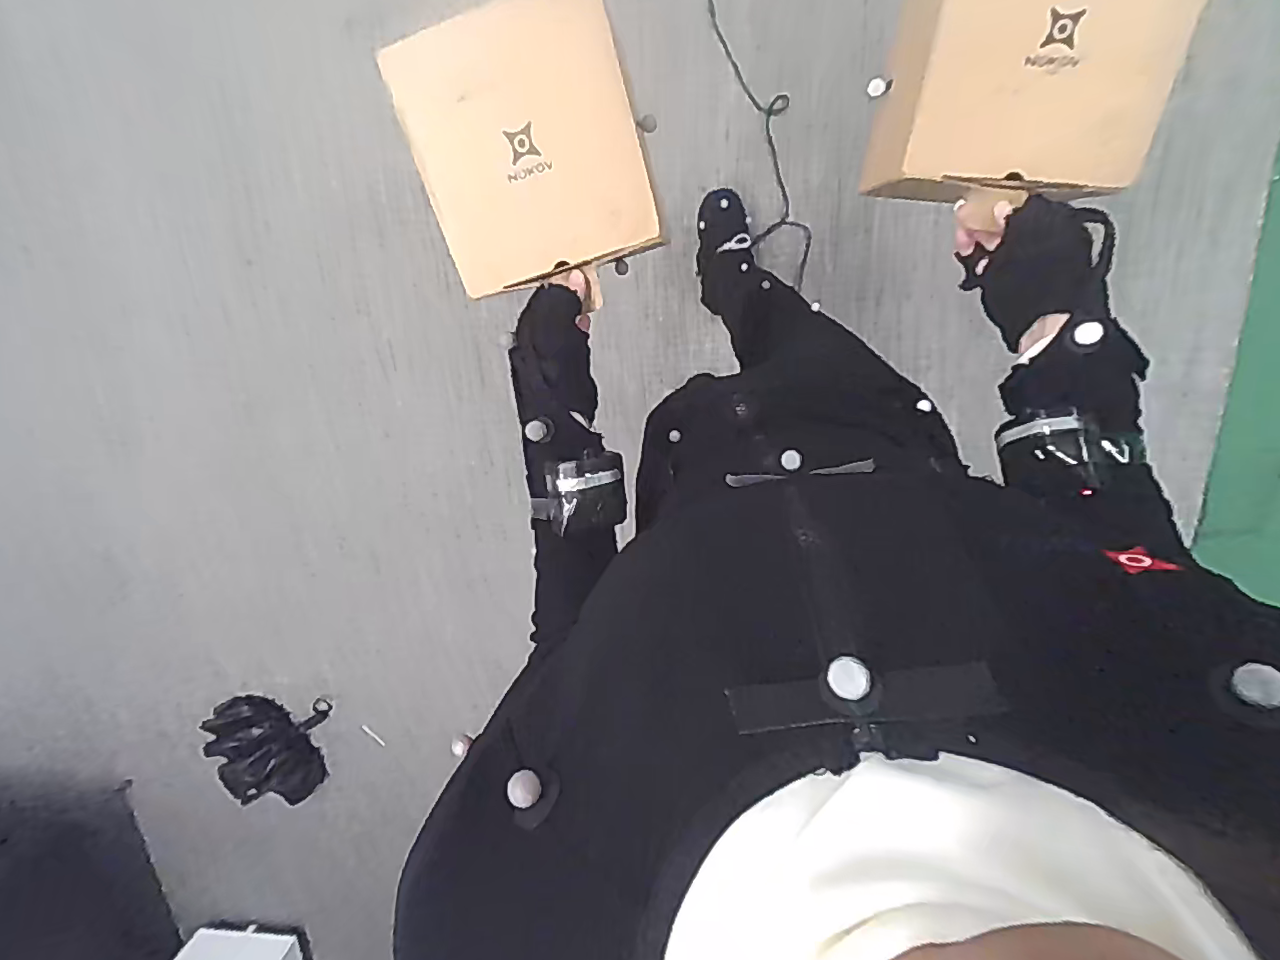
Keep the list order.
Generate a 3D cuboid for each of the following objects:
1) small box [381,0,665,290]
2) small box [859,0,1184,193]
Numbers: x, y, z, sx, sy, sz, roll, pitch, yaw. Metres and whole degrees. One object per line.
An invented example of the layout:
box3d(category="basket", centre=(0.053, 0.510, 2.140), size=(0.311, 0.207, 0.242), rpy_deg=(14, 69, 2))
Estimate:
box3d(category="small box", centre=(-0.079, -0.284, 0.476), size=(0.168, 0.176, 0.179), rpy_deg=(-14, 110, 11))
box3d(category="small box", centre=(0.297, -0.348, 0.455), size=(0.168, 0.176, 0.179), rpy_deg=(8, 115, 7))
